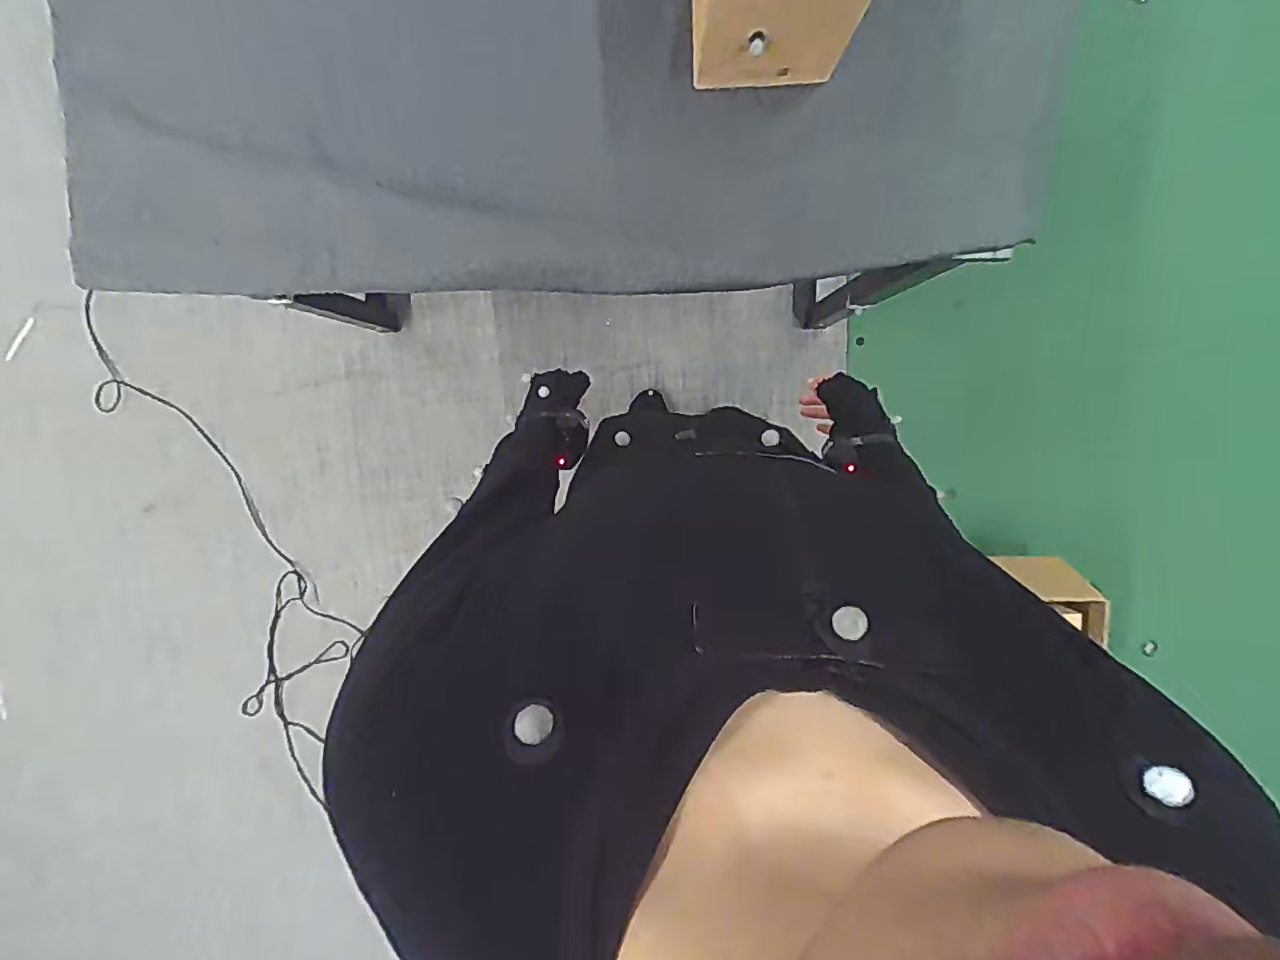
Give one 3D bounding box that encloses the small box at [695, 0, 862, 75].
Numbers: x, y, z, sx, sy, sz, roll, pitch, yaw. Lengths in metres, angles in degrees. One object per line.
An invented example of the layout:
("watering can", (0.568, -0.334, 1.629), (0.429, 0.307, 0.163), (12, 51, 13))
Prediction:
("small box", (0.146, -0.562, 0.569), (0.168, 0.176, 0.179), (-1, 98, 2))
